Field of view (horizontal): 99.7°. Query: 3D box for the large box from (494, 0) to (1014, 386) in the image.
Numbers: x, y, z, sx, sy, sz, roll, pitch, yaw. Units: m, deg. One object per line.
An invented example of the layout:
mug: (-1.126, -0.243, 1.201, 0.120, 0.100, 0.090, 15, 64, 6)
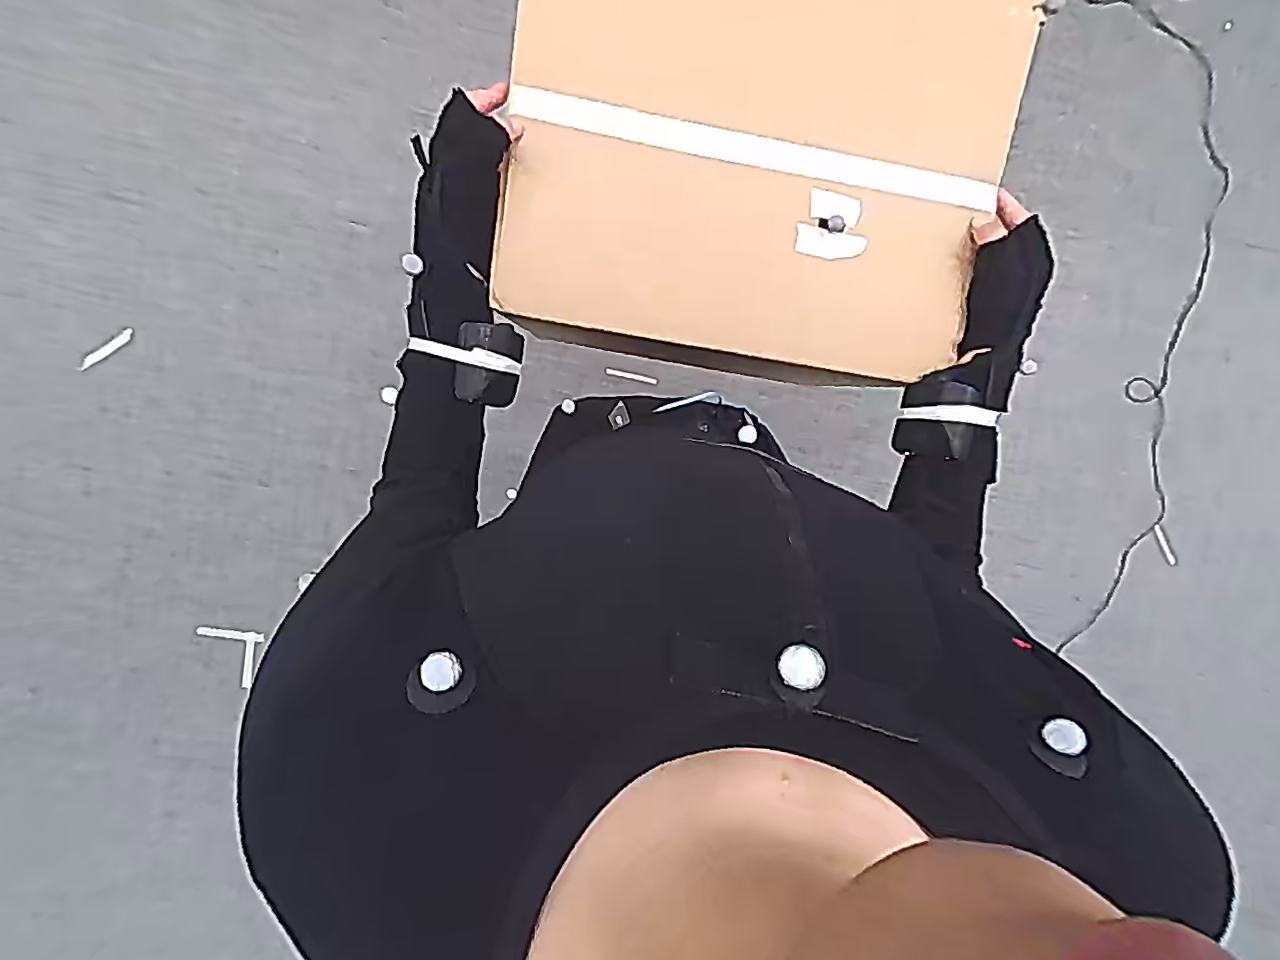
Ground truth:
large box: (0.078, -0.286, 0.594, 0.408, 0.320, 0.320, 8, 101, -7)
